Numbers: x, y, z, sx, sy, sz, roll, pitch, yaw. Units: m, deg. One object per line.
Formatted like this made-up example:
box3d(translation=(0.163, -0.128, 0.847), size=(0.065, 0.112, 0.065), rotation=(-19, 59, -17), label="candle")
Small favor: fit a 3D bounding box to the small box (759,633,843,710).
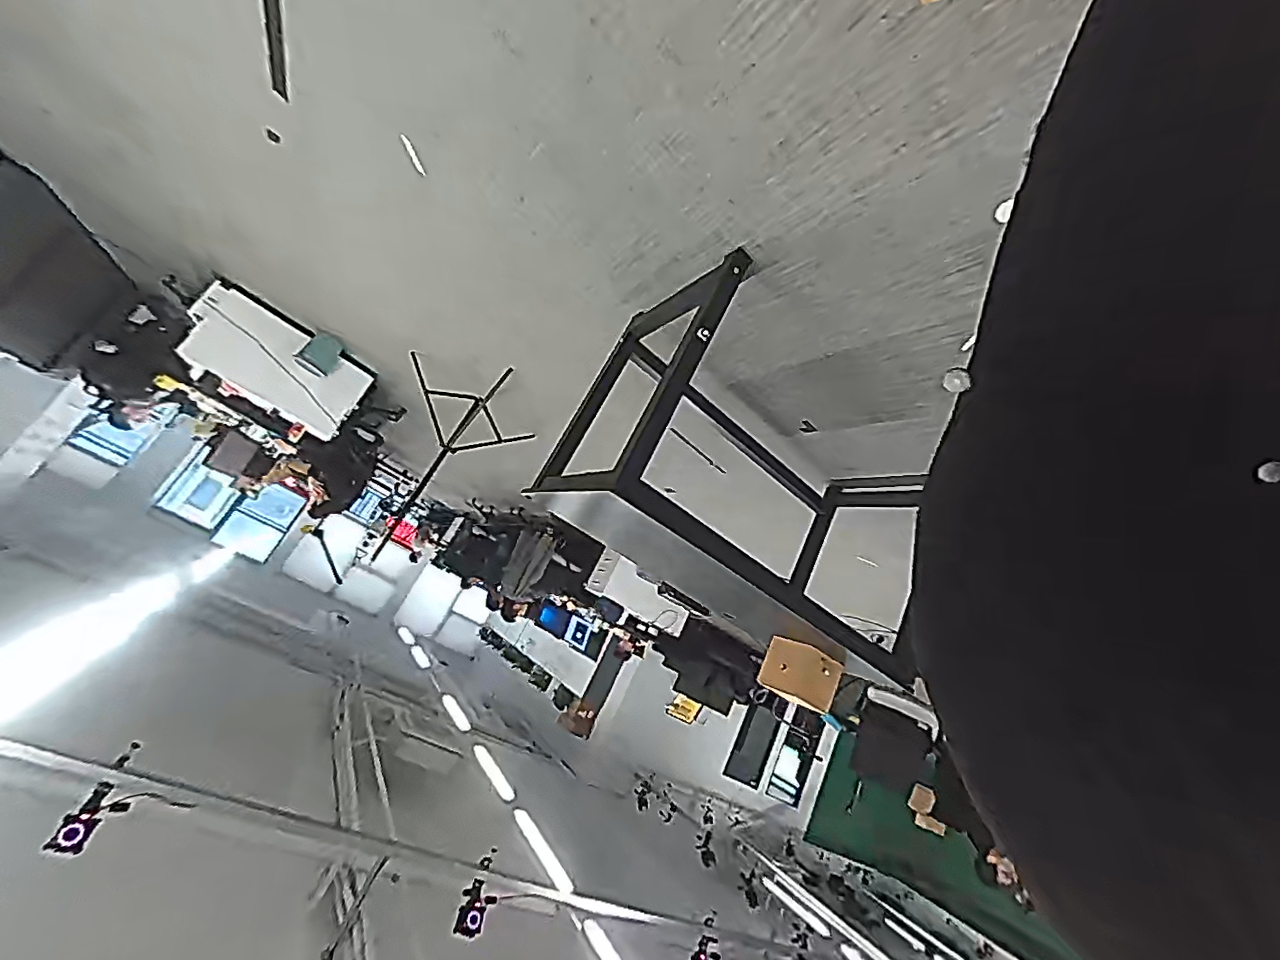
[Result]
box3d(translation=(0.531, 0.621, 1.779), size=(0.168, 0.176, 0.179), rotation=(34, 161, -23), label="small box")
